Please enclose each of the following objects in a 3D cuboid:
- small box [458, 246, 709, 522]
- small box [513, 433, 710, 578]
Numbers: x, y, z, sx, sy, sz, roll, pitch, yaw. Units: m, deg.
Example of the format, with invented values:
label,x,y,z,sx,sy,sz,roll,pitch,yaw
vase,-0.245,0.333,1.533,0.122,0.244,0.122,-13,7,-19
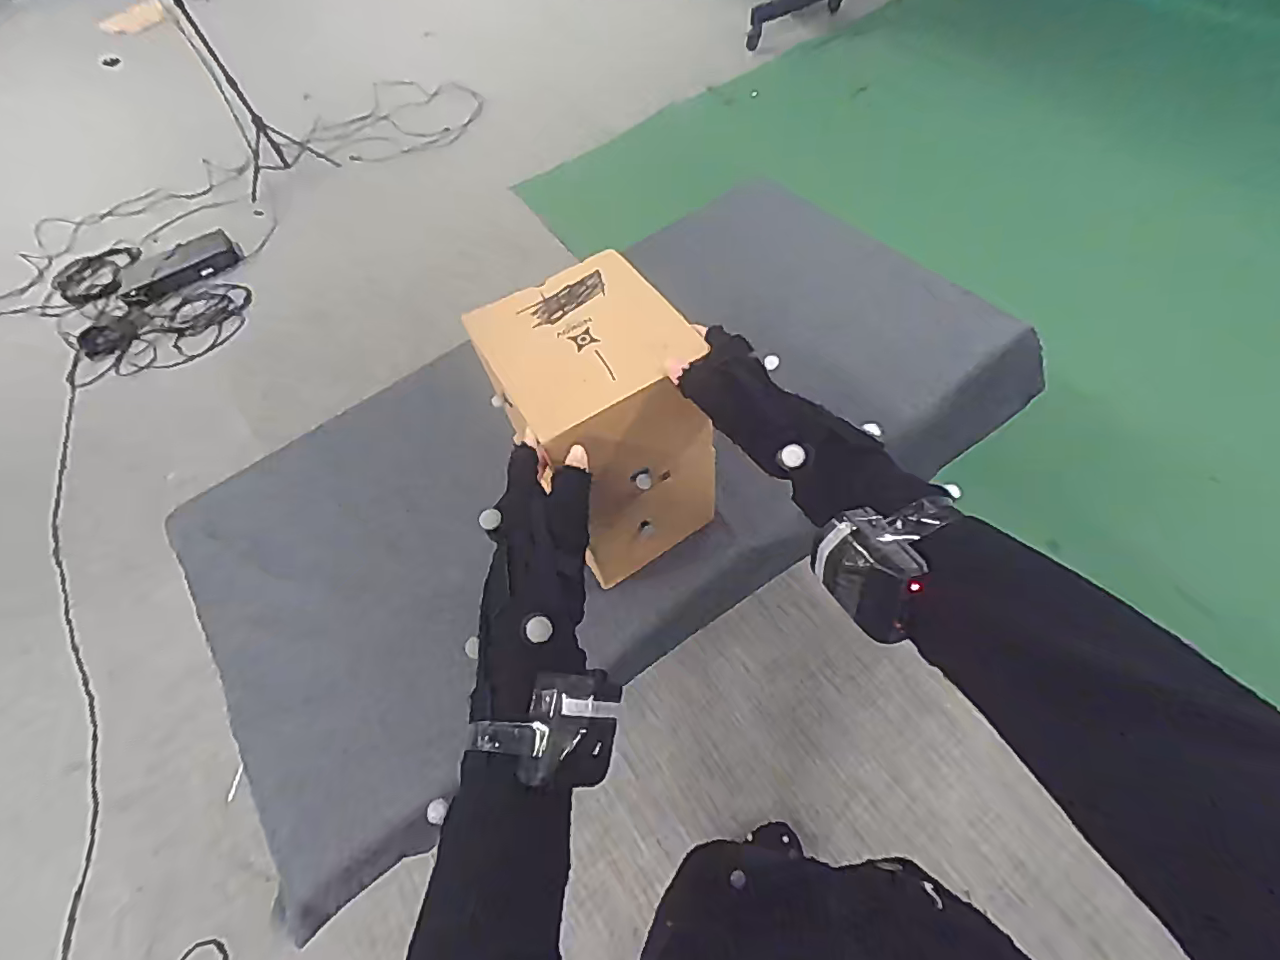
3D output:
label,x,y,z,sx,sy,sz,roll,pitch,yaw
small box,-0.047,-0.091,0.541,0.168,0.176,0.179,-33,59,-12
small box,-0.025,-0.005,0.680,0.179,0.176,0.168,-33,61,-10
